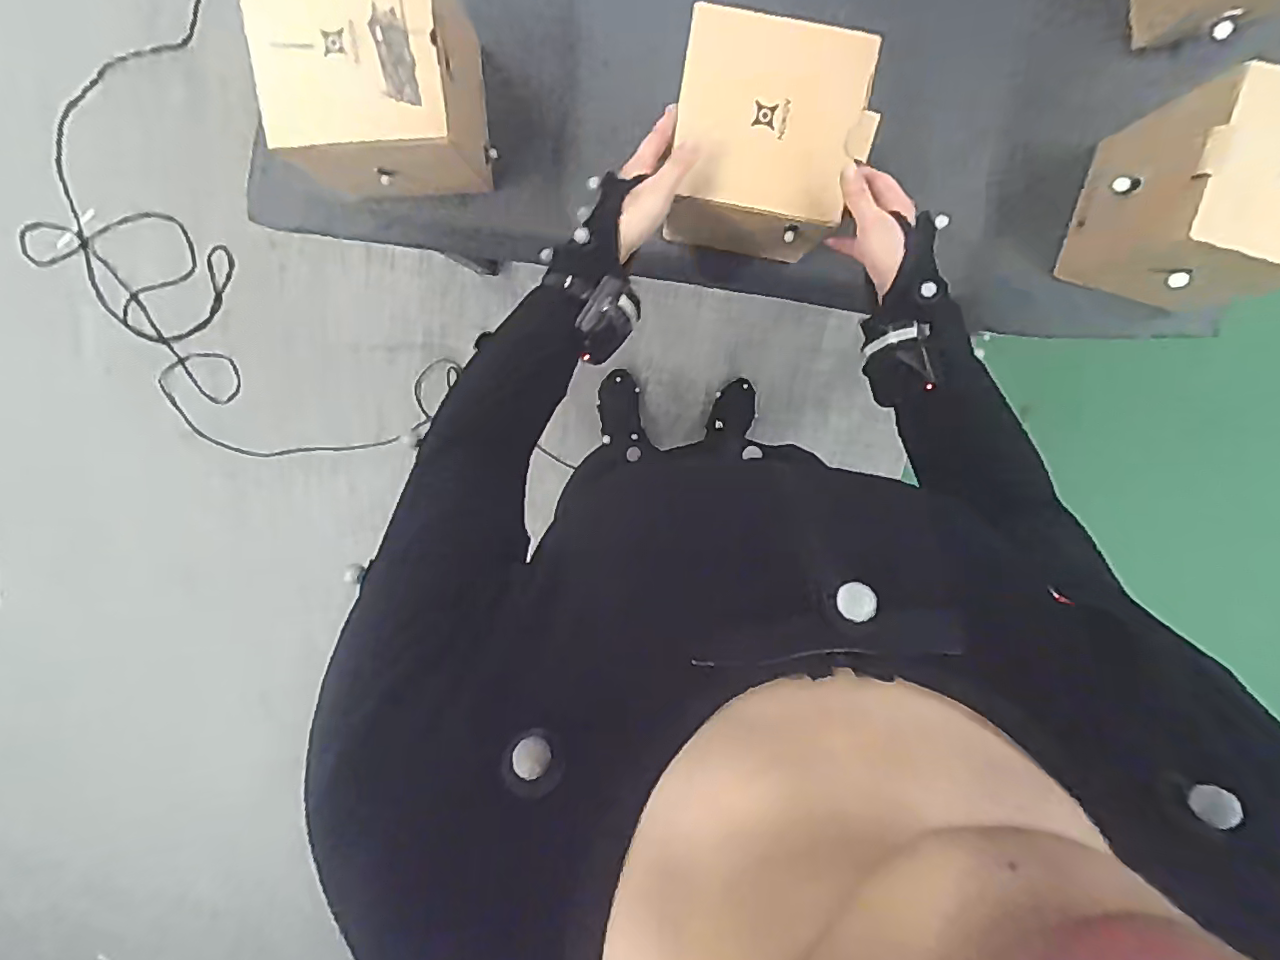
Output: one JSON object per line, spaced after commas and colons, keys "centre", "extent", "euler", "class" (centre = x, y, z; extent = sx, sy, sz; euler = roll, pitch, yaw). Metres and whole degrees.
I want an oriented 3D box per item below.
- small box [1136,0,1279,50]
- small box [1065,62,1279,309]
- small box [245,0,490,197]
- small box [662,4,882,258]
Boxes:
{"centre": [0.640, -0.580, 0.531], "extent": [0.168, 0.176, 0.179], "euler": [-13, 104, 6], "class": "small box"}
{"centre": [0.624, -0.297, 0.589], "extent": [0.179, 0.176, 0.168], "euler": [14, 98, -2], "class": "small box"}
{"centre": [-0.265, -0.412, 0.570], "extent": [0.179, 0.176, 0.168], "euler": [-2, 103, 1], "class": "small box"}
{"centre": [0.123, -0.353, 0.582], "extent": [0.179, 0.176, 0.168], "euler": [10, 101, 0], "class": "small box"}
